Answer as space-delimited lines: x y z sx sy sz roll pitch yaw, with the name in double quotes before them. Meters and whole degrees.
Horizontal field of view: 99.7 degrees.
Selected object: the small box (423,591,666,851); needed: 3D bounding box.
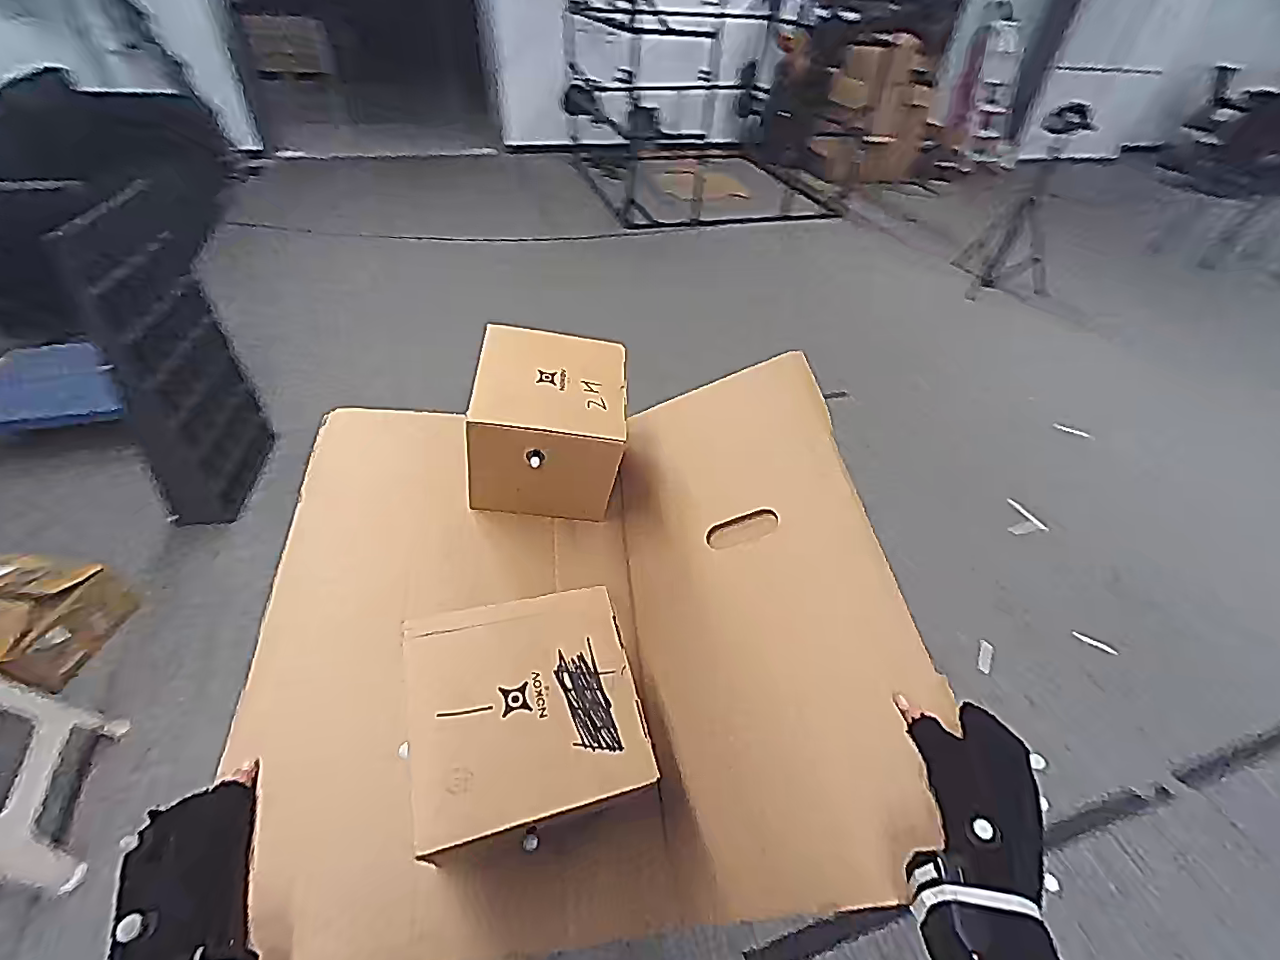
"small box" -0.097 0.220 0.496 0.179 0.176 0.168 -5 56 -19
